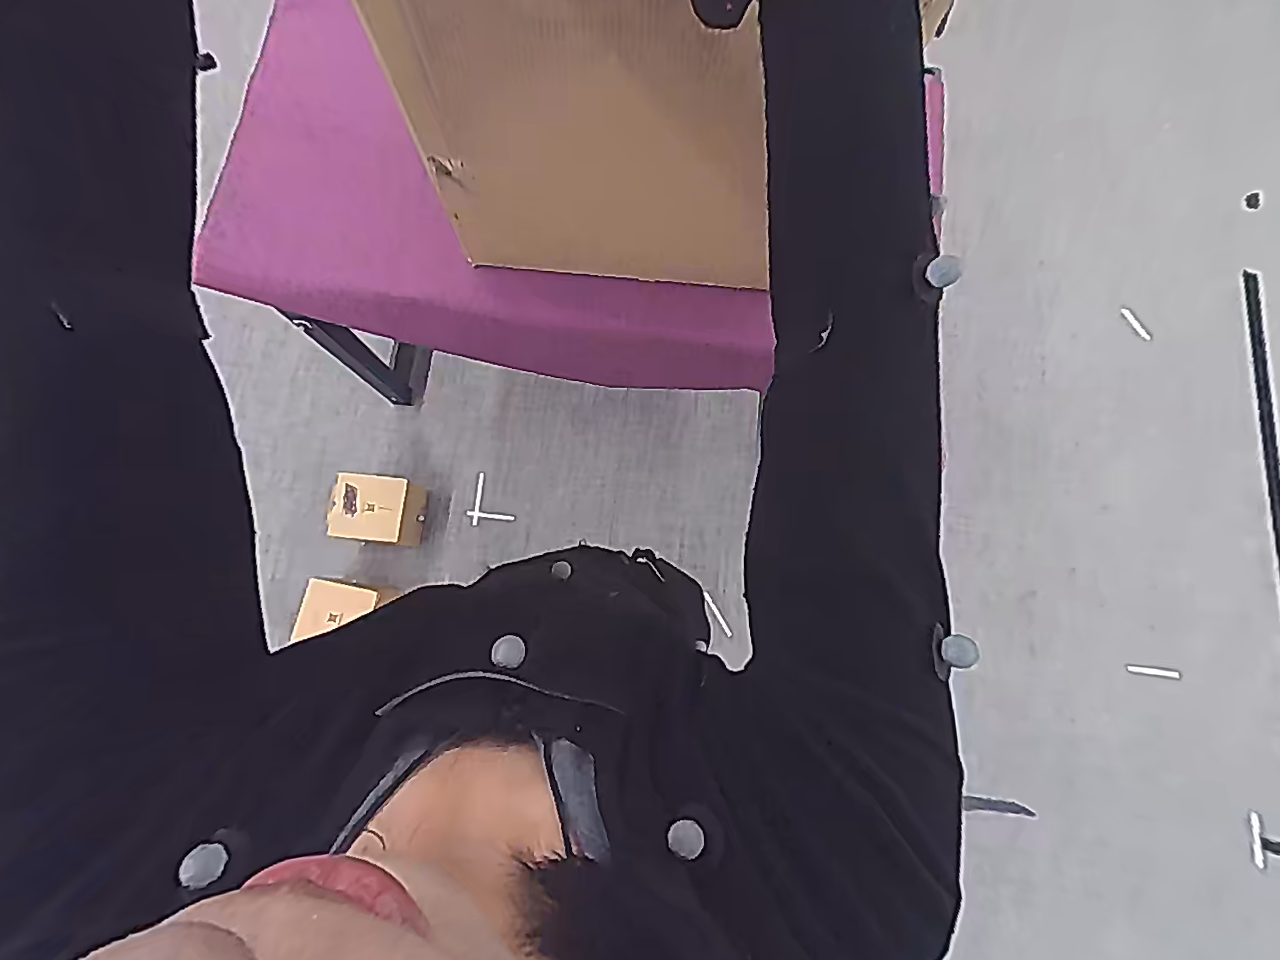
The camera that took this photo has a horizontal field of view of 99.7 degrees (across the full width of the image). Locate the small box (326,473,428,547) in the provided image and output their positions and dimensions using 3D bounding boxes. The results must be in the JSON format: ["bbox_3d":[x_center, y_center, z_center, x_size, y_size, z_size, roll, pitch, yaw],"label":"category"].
[{"bbox_3d":[-0.688,0.086,1.432,0.179,0.176,0.168,6,79,-2],"label":"small box"}]

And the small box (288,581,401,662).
[{"bbox_3d":[-0.742,0.355,1.381,0.179,0.176,0.168,12,78,0],"label":"small box"}]
